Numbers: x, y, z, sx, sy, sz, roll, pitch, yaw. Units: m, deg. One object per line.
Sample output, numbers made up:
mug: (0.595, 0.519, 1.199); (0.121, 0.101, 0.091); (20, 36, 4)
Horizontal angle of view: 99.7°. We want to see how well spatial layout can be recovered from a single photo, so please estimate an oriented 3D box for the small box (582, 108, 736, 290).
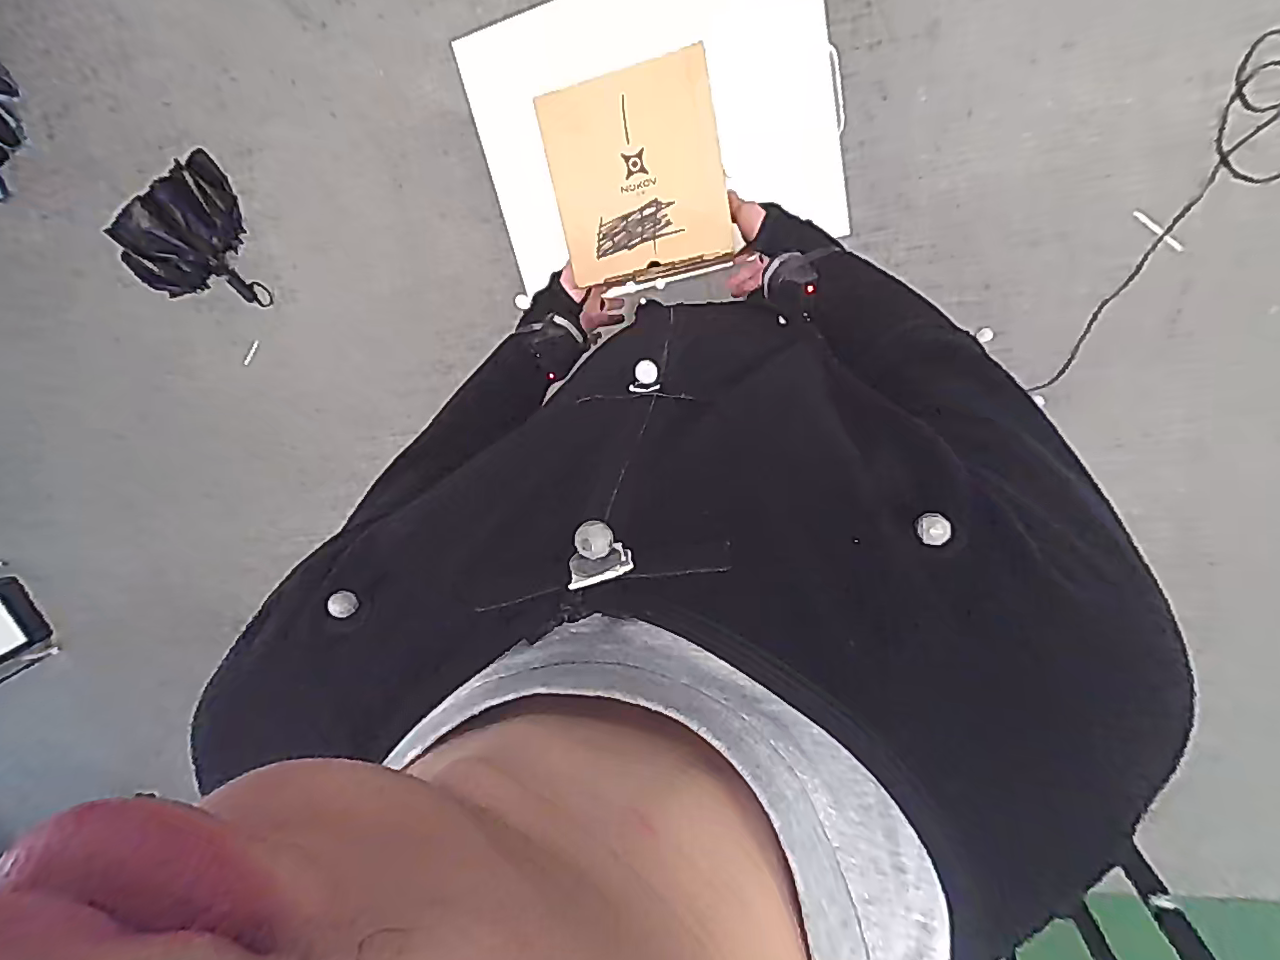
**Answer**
small box: (0.035, -0.369, 0.745); (0.168, 0.176, 0.179); (-10, 108, 13)
